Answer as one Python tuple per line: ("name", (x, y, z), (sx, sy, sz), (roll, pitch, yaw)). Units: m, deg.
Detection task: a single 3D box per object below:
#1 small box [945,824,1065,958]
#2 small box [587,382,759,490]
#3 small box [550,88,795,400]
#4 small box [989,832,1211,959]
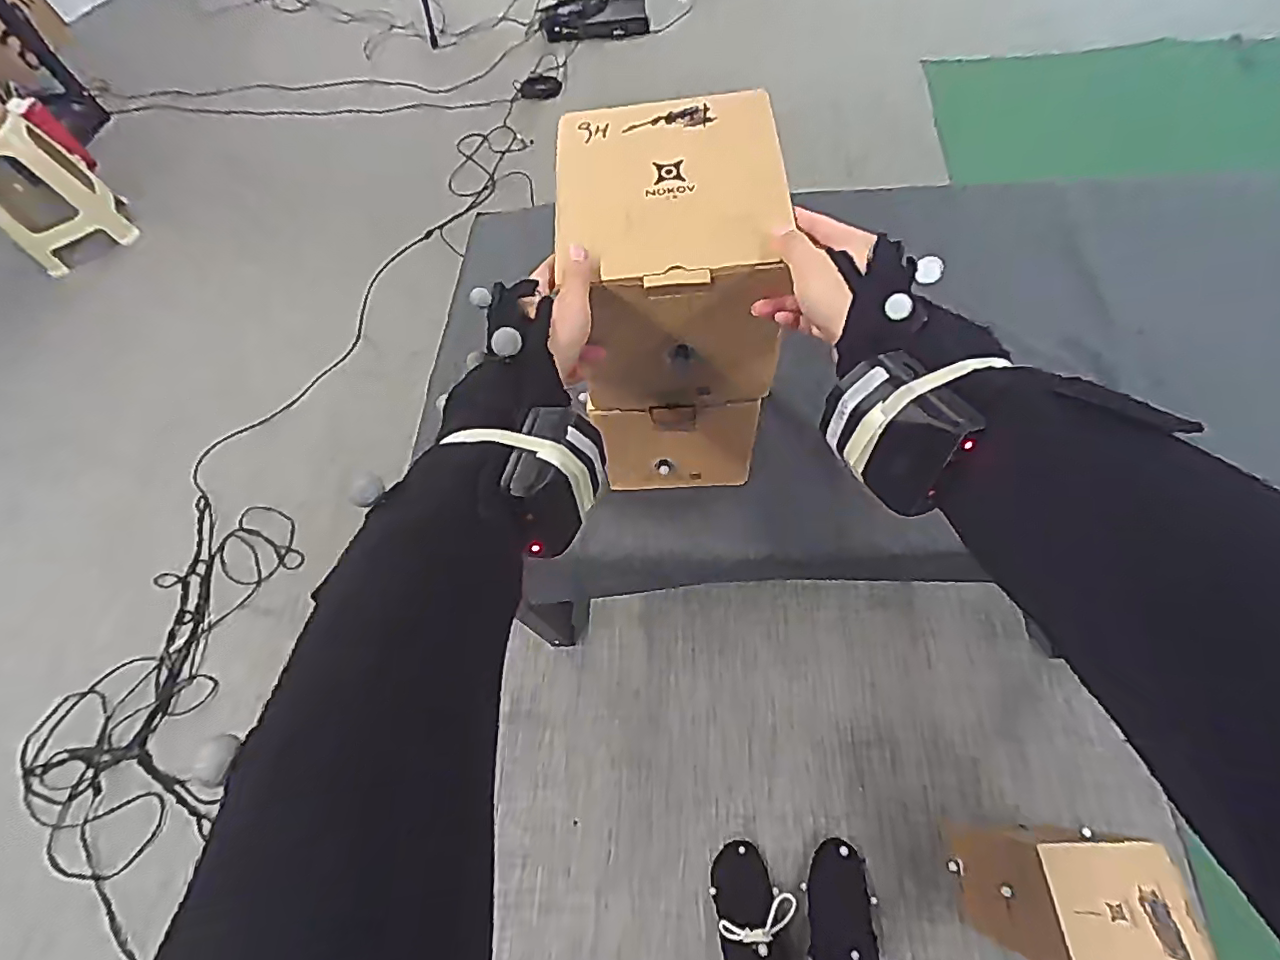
("small box", (0.677, 0.709, 0.948), (0.179, 0.176, 0.168), (-4, 61, 4))
("small box", (0.035, -0.104, 0.616), (0.168, 0.176, 0.179), (-3, 63, 4))
("small box", (0.026, -0.179, 0.456), (0.168, 0.176, 0.179), (-5, 69, 4))
("small box", (0.669, 0.630, 0.805), (0.179, 0.176, 0.168), (-4, 61, 4))
